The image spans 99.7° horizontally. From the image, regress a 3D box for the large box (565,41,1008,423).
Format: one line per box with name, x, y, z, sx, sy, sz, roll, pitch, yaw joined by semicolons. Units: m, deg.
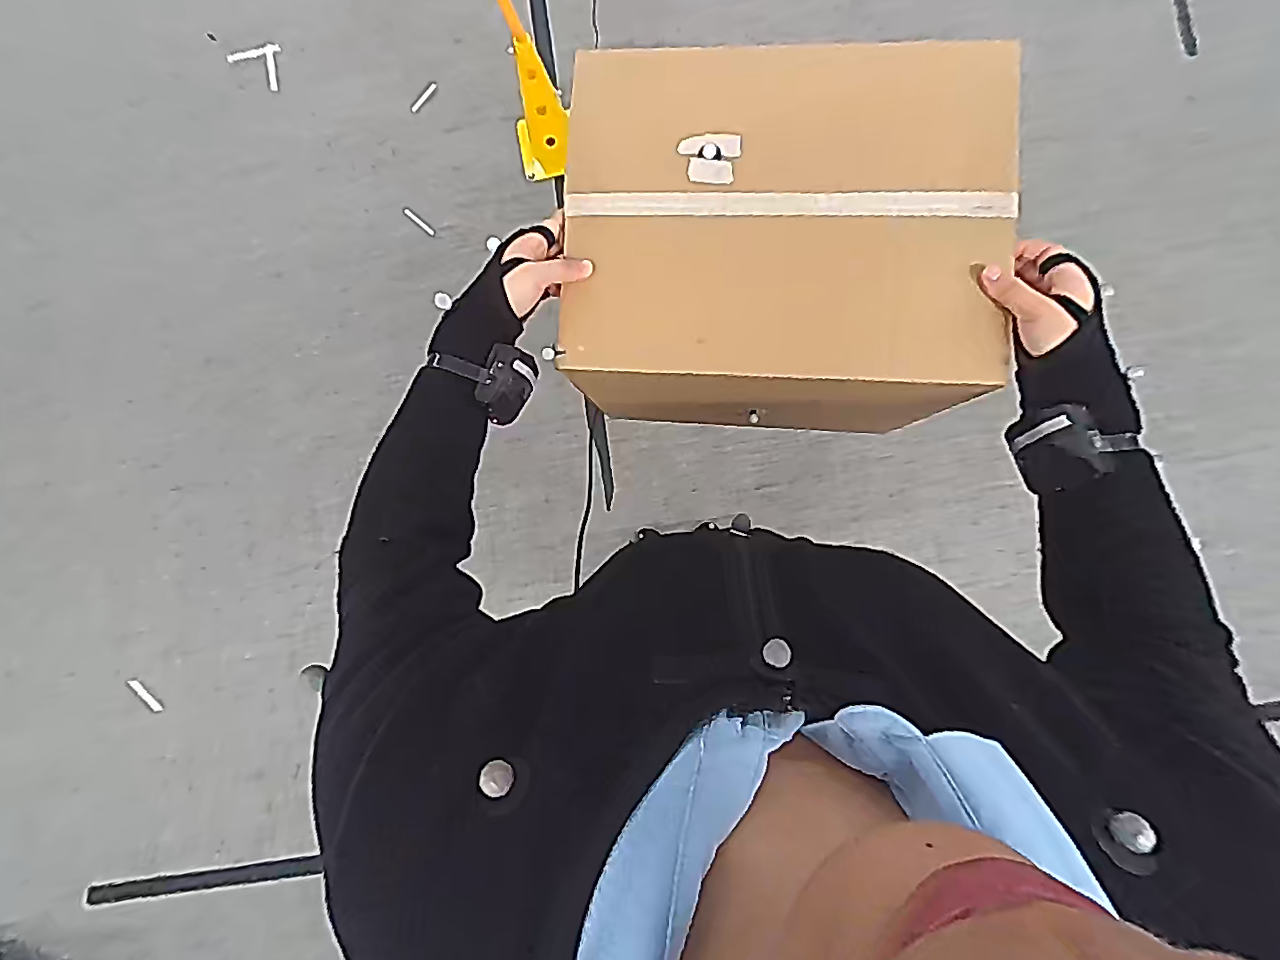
large box;0.151;-0.244;0.654;0.408;0.320;0.320;3;86;8
